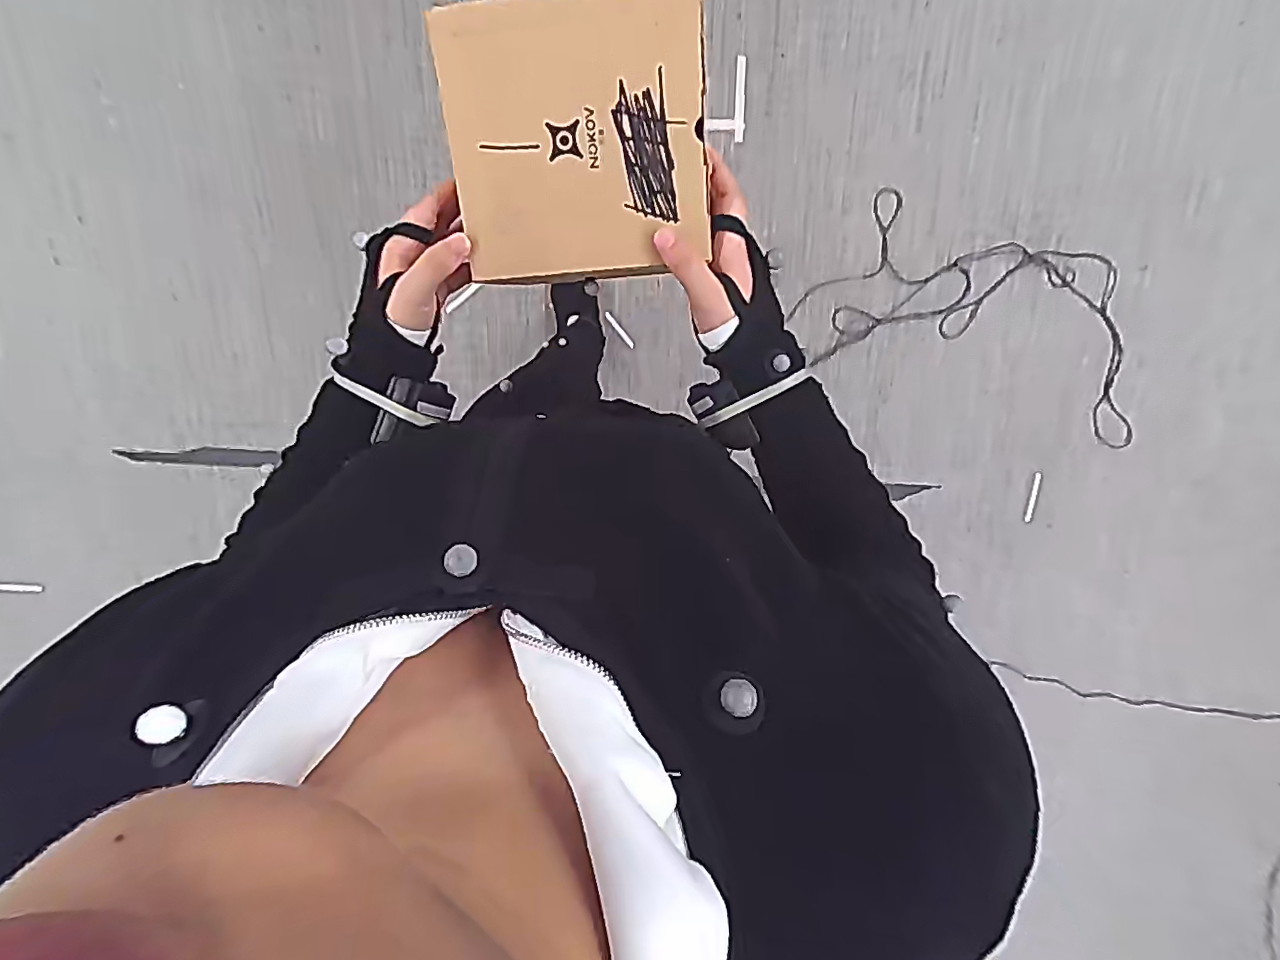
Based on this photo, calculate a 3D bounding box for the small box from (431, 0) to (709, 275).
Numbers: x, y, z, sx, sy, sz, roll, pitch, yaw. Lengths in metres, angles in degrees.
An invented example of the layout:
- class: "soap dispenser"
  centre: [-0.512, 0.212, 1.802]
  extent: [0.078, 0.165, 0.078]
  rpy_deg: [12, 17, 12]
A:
- class: "small box"
  centre: [-0.041, -0.262, 0.440]
  extent: [0.179, 0.176, 0.168]
  rpy_deg: [-3, 108, 3]
